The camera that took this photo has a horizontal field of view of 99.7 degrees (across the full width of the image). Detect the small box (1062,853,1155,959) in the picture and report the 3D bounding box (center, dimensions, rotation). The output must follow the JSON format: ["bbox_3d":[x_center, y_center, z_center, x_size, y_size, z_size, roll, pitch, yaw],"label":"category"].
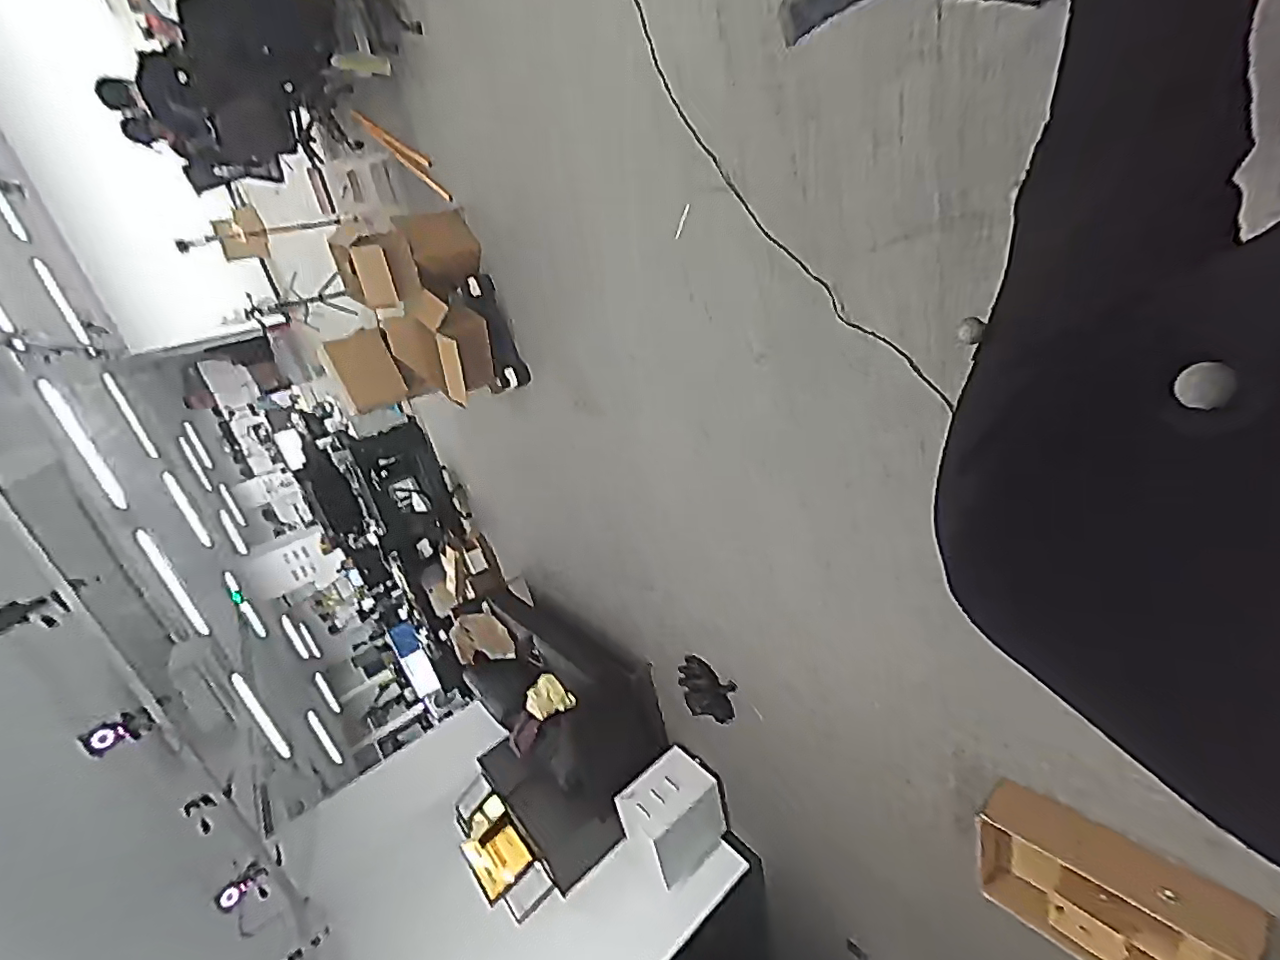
[{"bbox_3d":[1.364,1.244,1.574,0.179,0.176,0.168,11,125,53],"label":"small box"}]
